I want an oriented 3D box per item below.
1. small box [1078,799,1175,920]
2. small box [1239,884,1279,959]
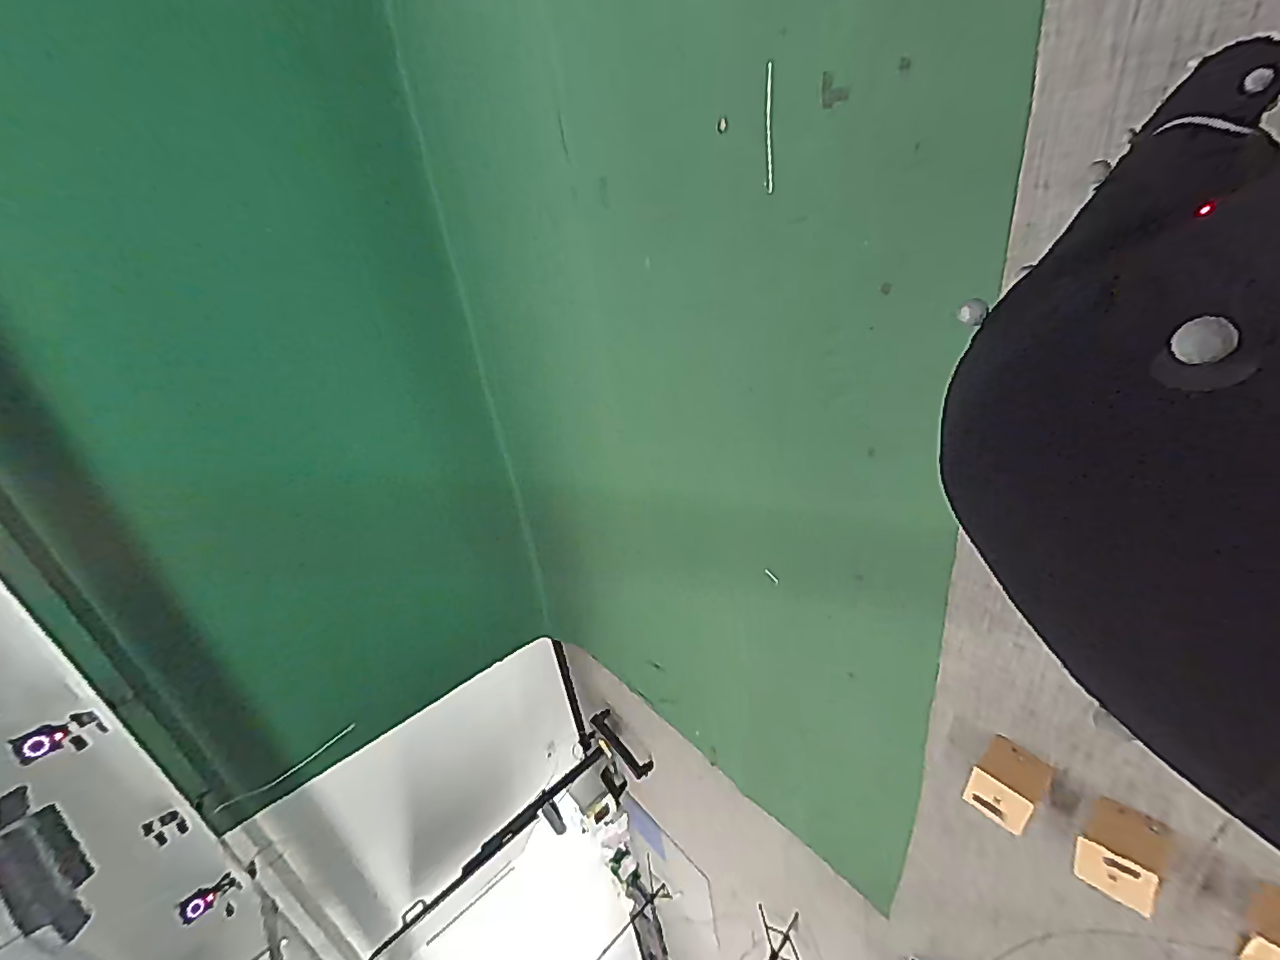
[{"bbox_3d":[1.340,1.034,1.490,0.168,0.176,0.179,14,124,51],"label":"small box"},{"bbox_3d":[1.541,1.108,1.255,0.168,0.176,0.179,18,125,48],"label":"small box"}]
